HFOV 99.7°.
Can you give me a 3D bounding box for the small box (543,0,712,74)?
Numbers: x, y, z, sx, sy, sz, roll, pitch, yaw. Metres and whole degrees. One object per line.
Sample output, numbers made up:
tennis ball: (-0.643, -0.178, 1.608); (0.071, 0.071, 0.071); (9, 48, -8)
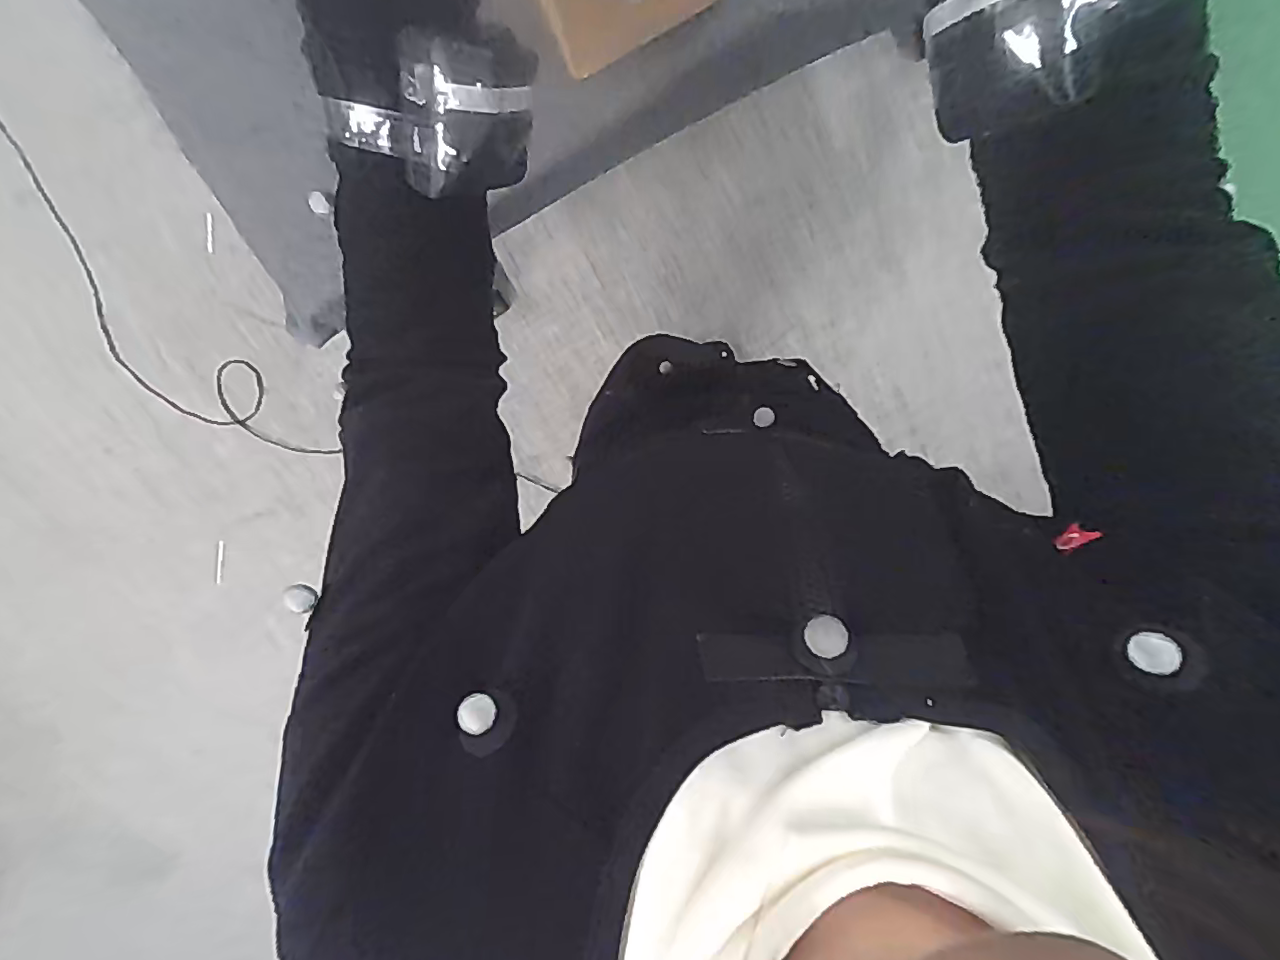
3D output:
small box: (-0.028, -0.515, 0.477); (0.179, 0.176, 0.168); (-24, 101, 9)
